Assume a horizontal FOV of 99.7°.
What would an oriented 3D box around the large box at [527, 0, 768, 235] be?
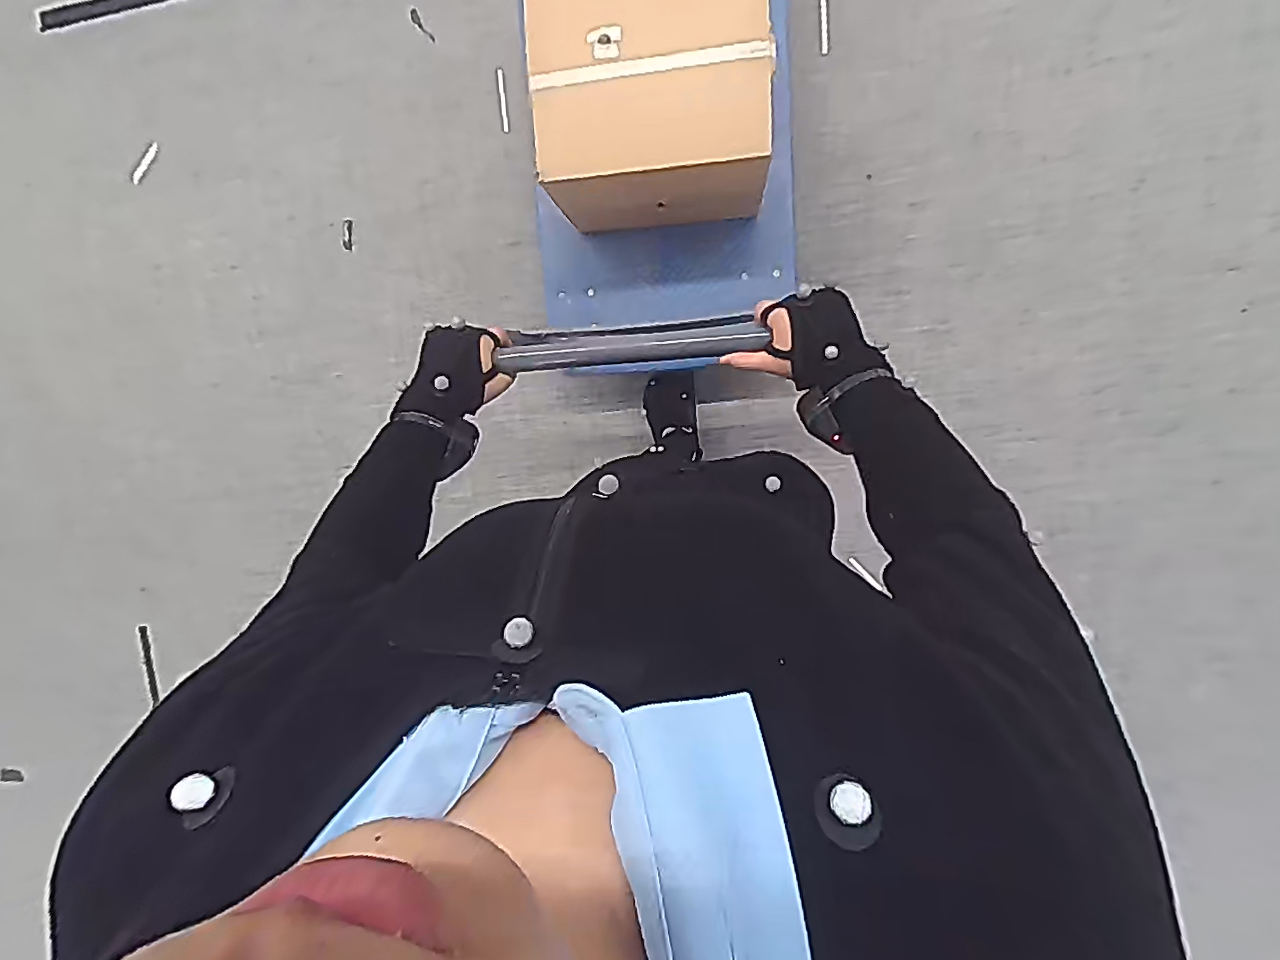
[{"bbox_3d":[0.033,-0.706,1.068,0.408,0.320,0.320,-2,97,9],"label":"large box"}]
